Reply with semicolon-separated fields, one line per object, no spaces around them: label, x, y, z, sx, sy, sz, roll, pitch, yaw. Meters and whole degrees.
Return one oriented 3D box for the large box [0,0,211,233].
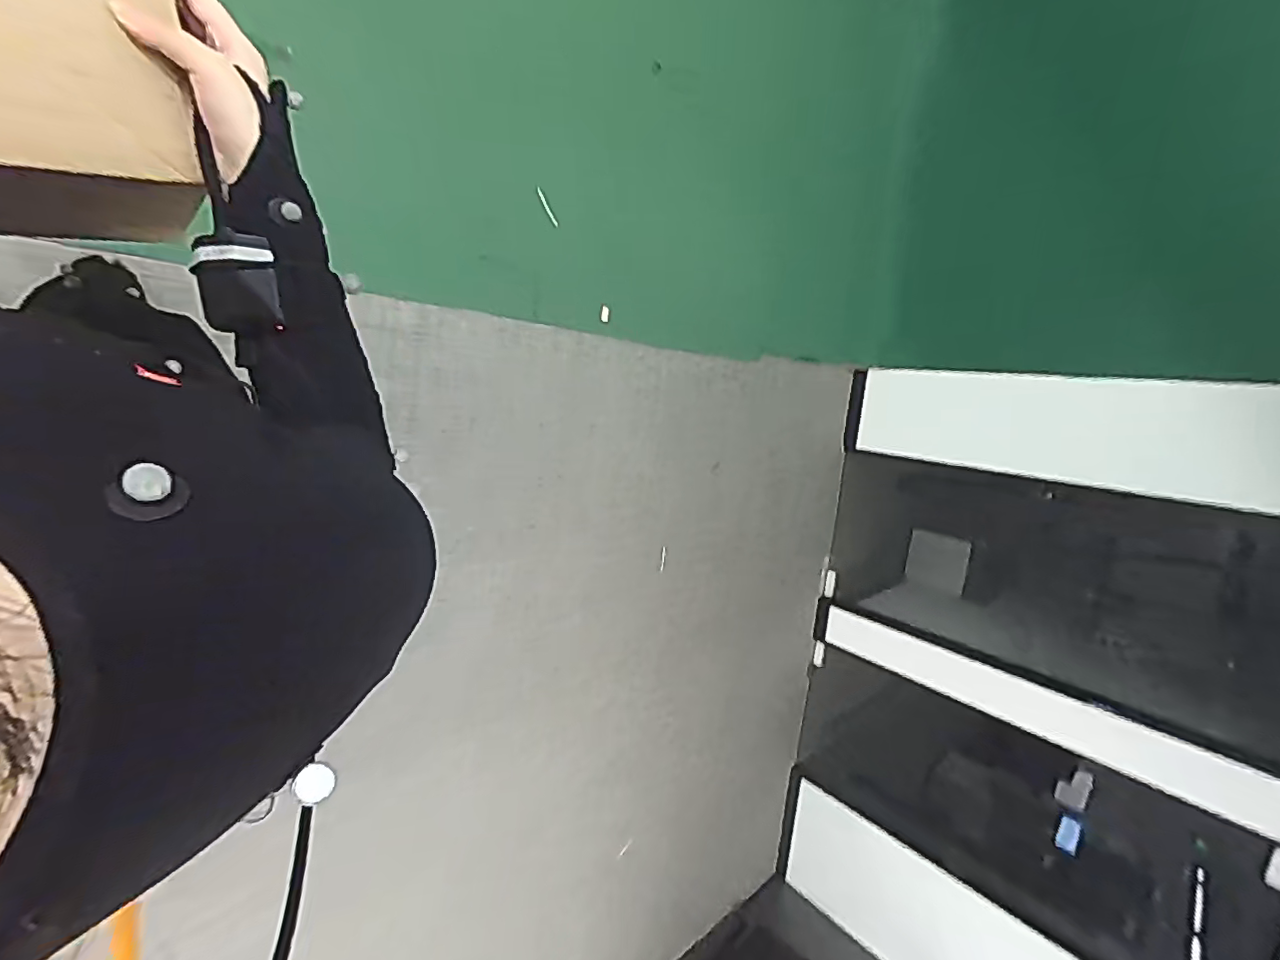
large box;-0.562;-0.345;0.320;0.408;0.320;0.320;-17;113;-42
